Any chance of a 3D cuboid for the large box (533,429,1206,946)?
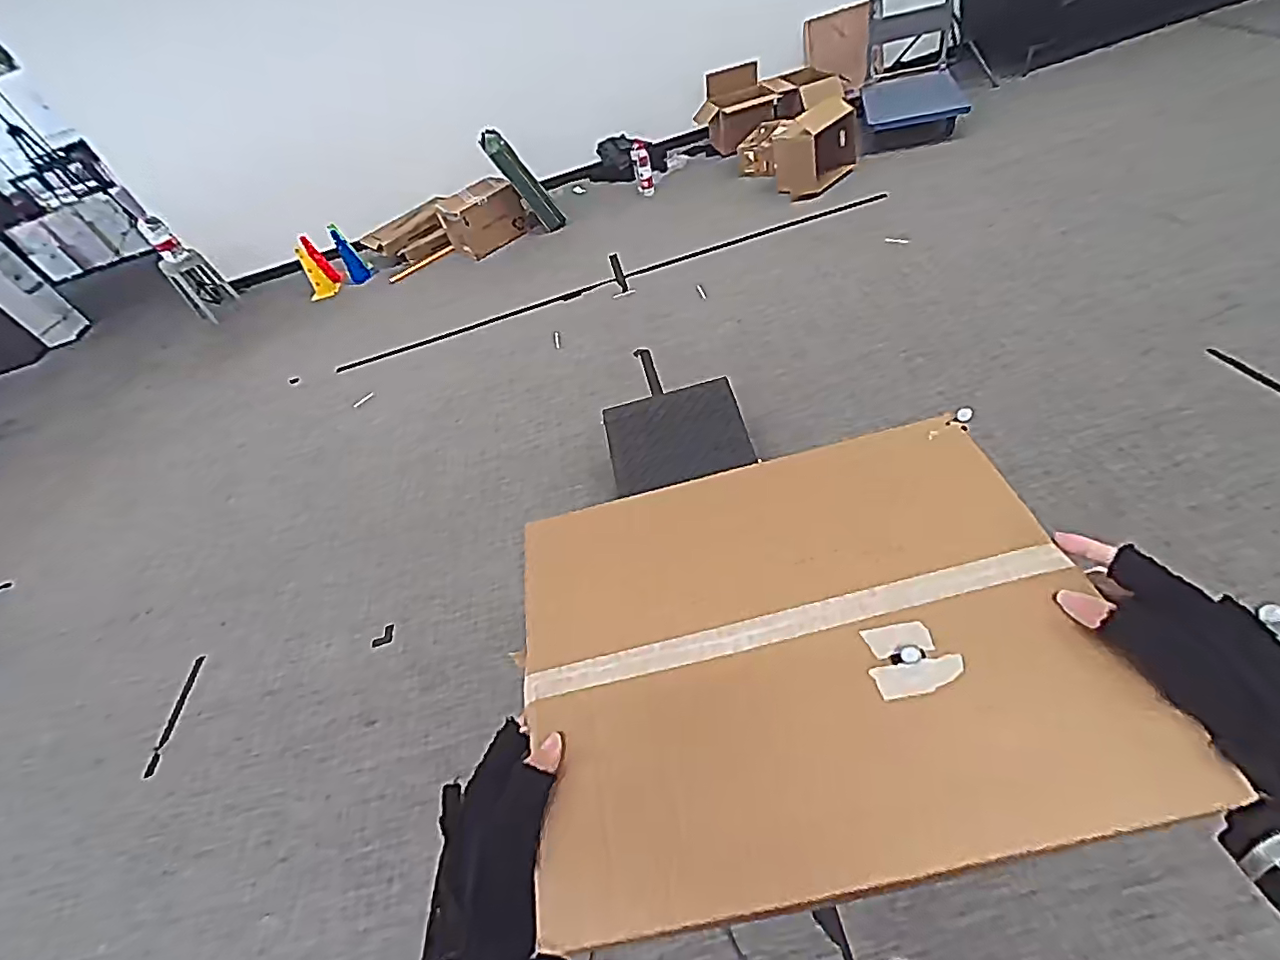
[{"bbox_3d":[0.142,0.208,0.527,0.408,0.320,0.320,-15,50,3],"label":"large box"}]
